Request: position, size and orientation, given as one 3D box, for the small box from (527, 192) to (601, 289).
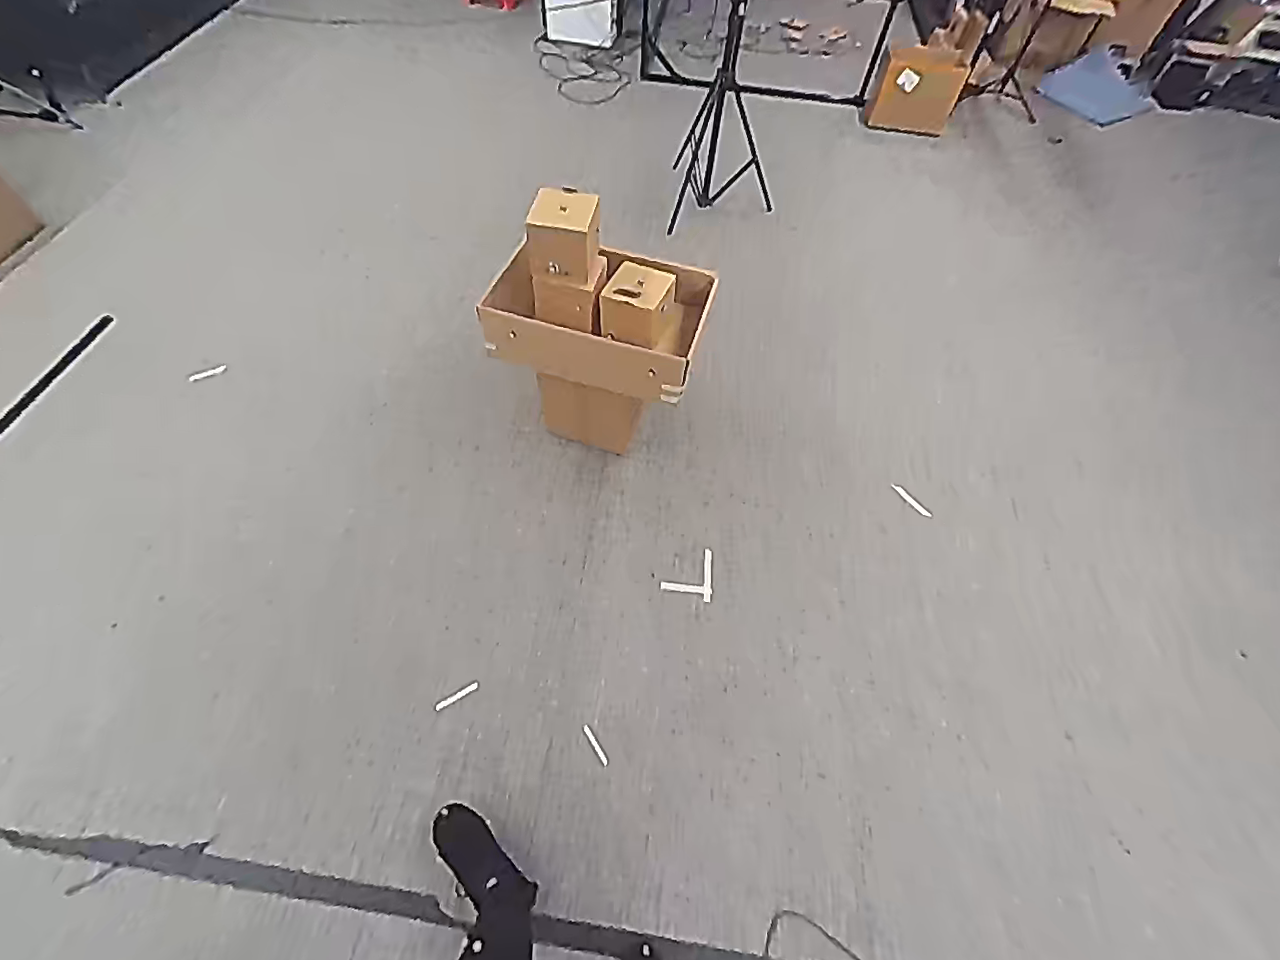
[{"bbox_3d":[-0.206,-0.661,1.498,0.168,0.176,0.179,9,56,1],"label":"small box"}]
